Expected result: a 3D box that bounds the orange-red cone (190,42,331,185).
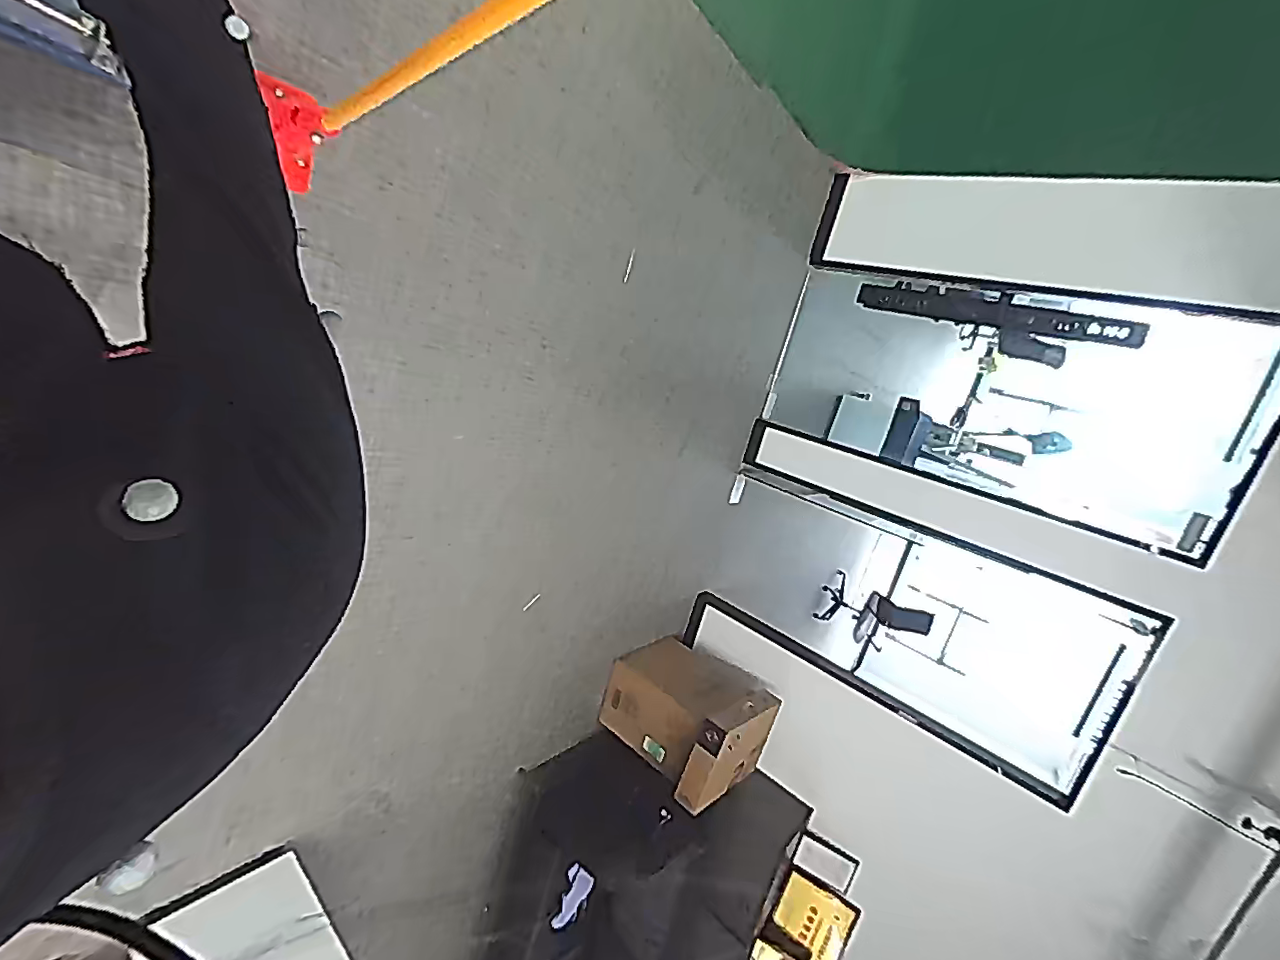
[{"bbox_3d":[-0.674,-0.686,1.016,0.199,0.360,0.198,1,110,-51],"label":"orange-red cone"}]
